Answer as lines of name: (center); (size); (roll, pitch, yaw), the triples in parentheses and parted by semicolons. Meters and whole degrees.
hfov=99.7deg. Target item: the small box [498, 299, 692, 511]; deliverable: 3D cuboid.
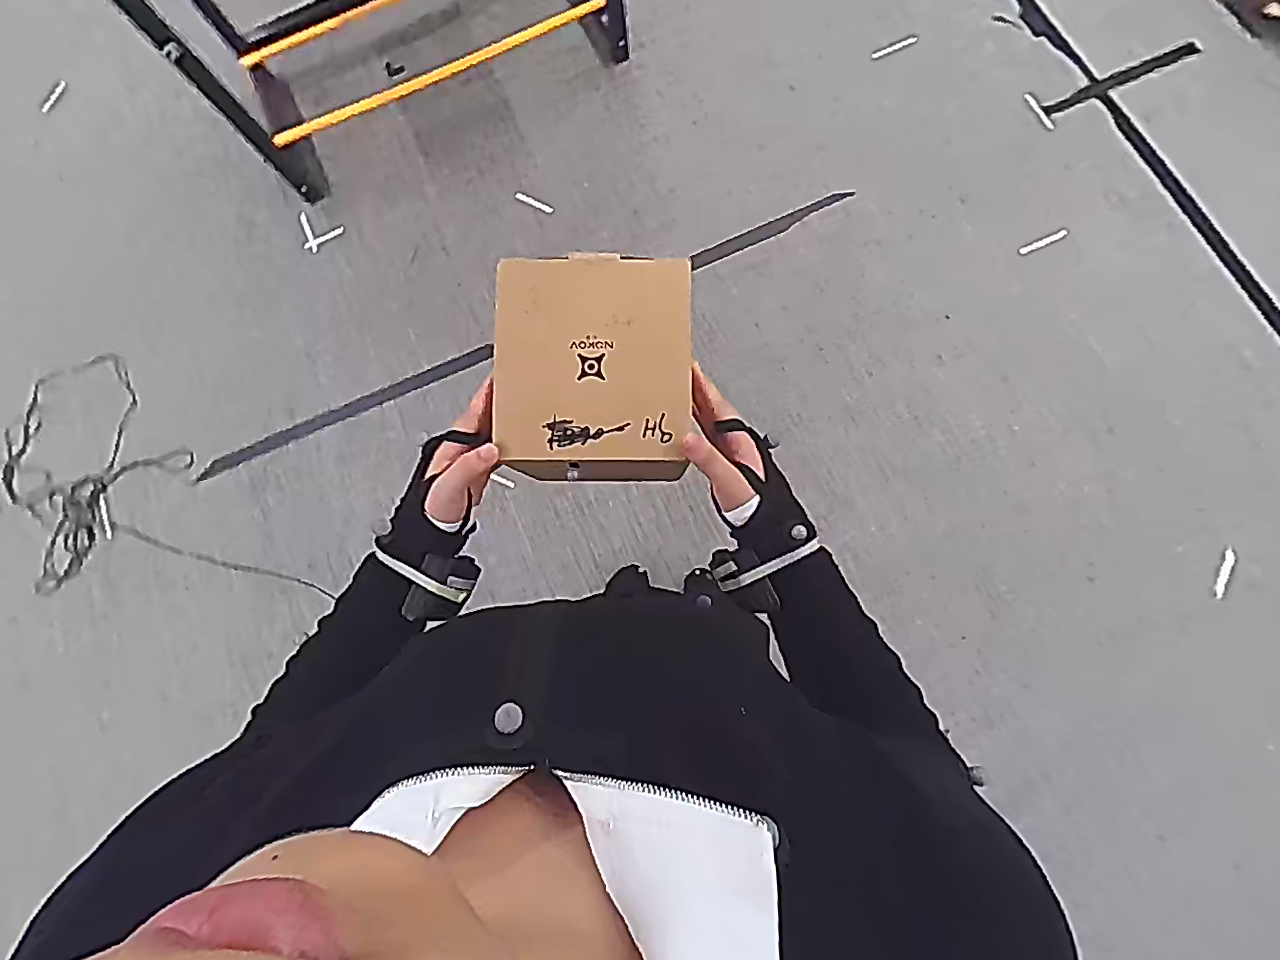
small box: (-0.037, -0.062, 0.541); (0.168, 0.176, 0.179); (0, 84, 1)
